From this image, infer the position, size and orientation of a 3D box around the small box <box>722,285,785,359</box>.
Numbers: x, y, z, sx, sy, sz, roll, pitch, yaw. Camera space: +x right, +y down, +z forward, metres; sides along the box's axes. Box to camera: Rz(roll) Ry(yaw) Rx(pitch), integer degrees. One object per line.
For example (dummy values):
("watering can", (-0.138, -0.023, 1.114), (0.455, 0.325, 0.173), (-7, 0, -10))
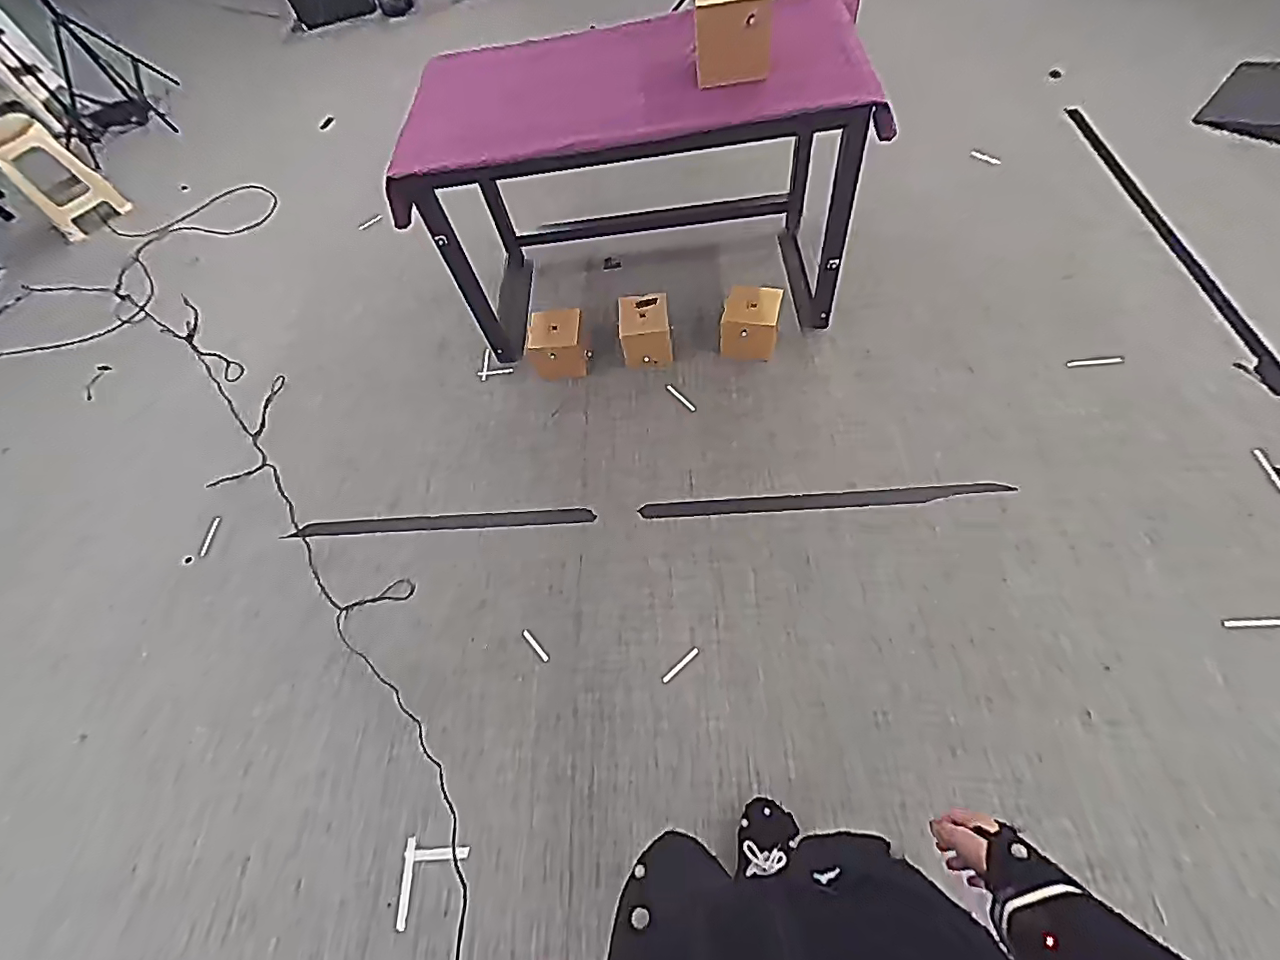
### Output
("small box", (0.379, -0.526, 1.813), (0.179, 0.176, 0.168), (10, 64, 16))

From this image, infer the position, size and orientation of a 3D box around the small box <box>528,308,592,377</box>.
("small box", (-0.276, -0.475, 1.892), (0.179, 0.176, 0.168), (-3, 62, 7))

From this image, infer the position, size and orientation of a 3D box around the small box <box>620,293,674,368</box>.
("small box", (0.026, -0.513, 1.862), (0.168, 0.176, 0.179), (-5, 61, 7))

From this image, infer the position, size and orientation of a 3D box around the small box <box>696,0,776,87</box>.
("small box", (0.228, -1.095, 1.310), (0.179, 0.176, 0.168), (-3, 60, 8))
